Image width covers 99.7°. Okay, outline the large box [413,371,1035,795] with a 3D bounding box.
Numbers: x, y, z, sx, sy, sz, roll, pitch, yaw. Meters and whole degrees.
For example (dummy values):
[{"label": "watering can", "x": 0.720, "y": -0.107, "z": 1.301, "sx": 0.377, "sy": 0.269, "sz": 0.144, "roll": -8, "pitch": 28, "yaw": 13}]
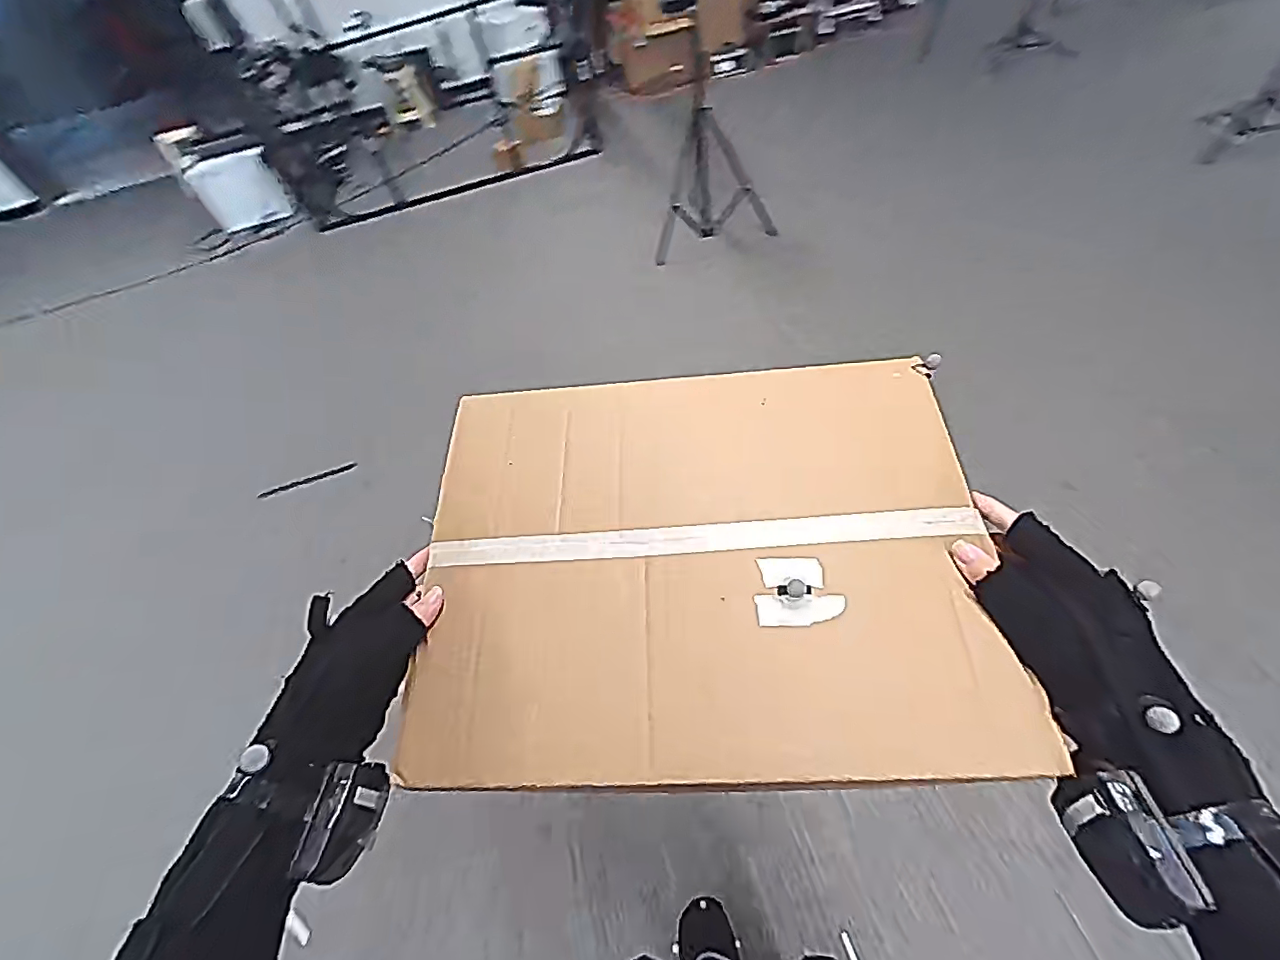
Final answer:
[{"label": "large box", "x": 0.053, "y": 0.126, "z": 0.543, "sx": 0.408, "sy": 0.320, "sz": 0.320, "roll": -5, "pitch": 60, "yaw": 4}]
